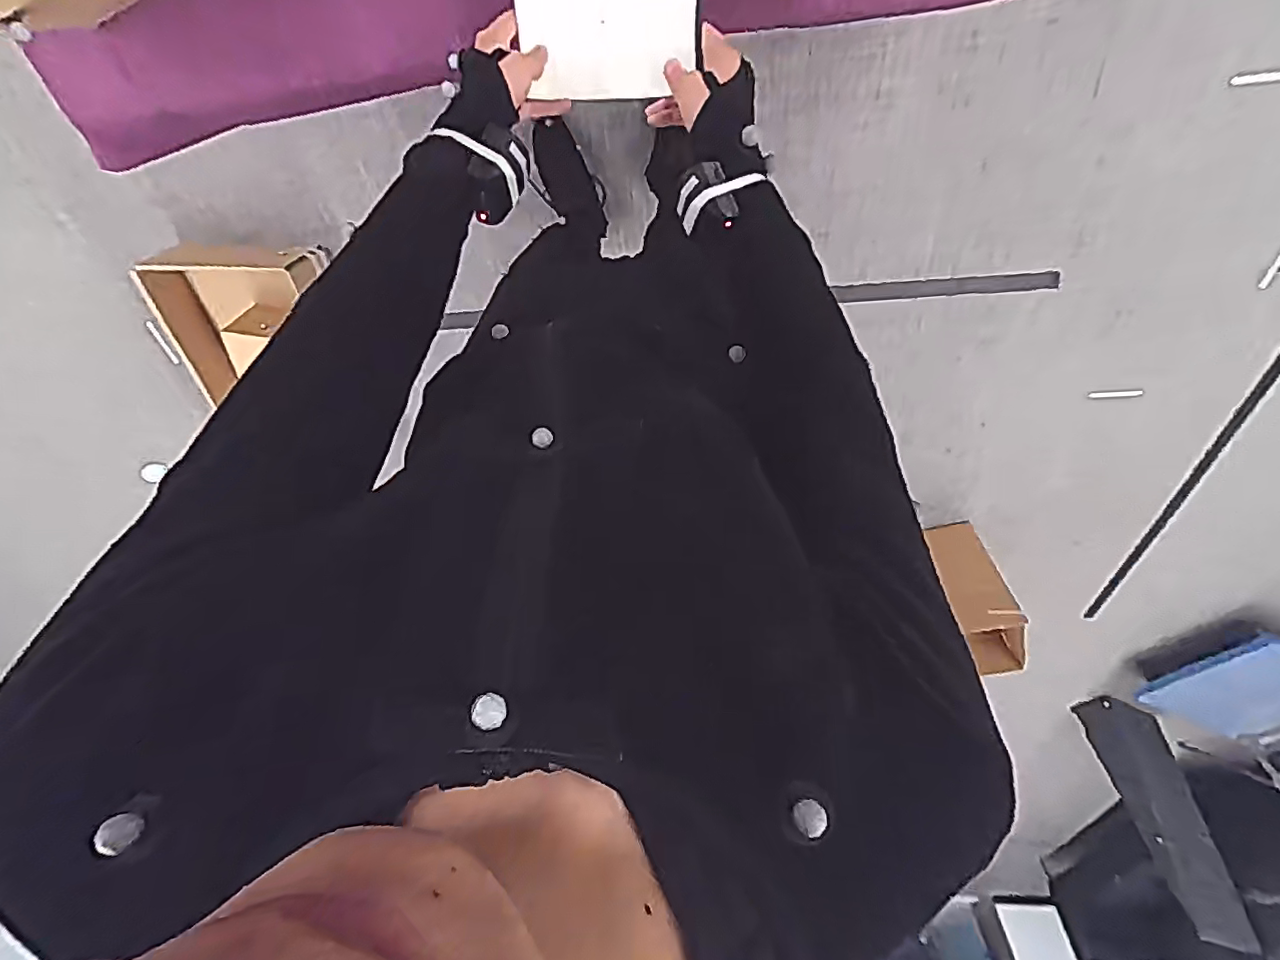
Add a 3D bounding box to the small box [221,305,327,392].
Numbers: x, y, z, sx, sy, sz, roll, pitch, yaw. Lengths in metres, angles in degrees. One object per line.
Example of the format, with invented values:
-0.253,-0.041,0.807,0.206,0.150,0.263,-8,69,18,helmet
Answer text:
-0.997,-0.366,1.496,0.179,0.176,0.168,7,132,-4,small box
